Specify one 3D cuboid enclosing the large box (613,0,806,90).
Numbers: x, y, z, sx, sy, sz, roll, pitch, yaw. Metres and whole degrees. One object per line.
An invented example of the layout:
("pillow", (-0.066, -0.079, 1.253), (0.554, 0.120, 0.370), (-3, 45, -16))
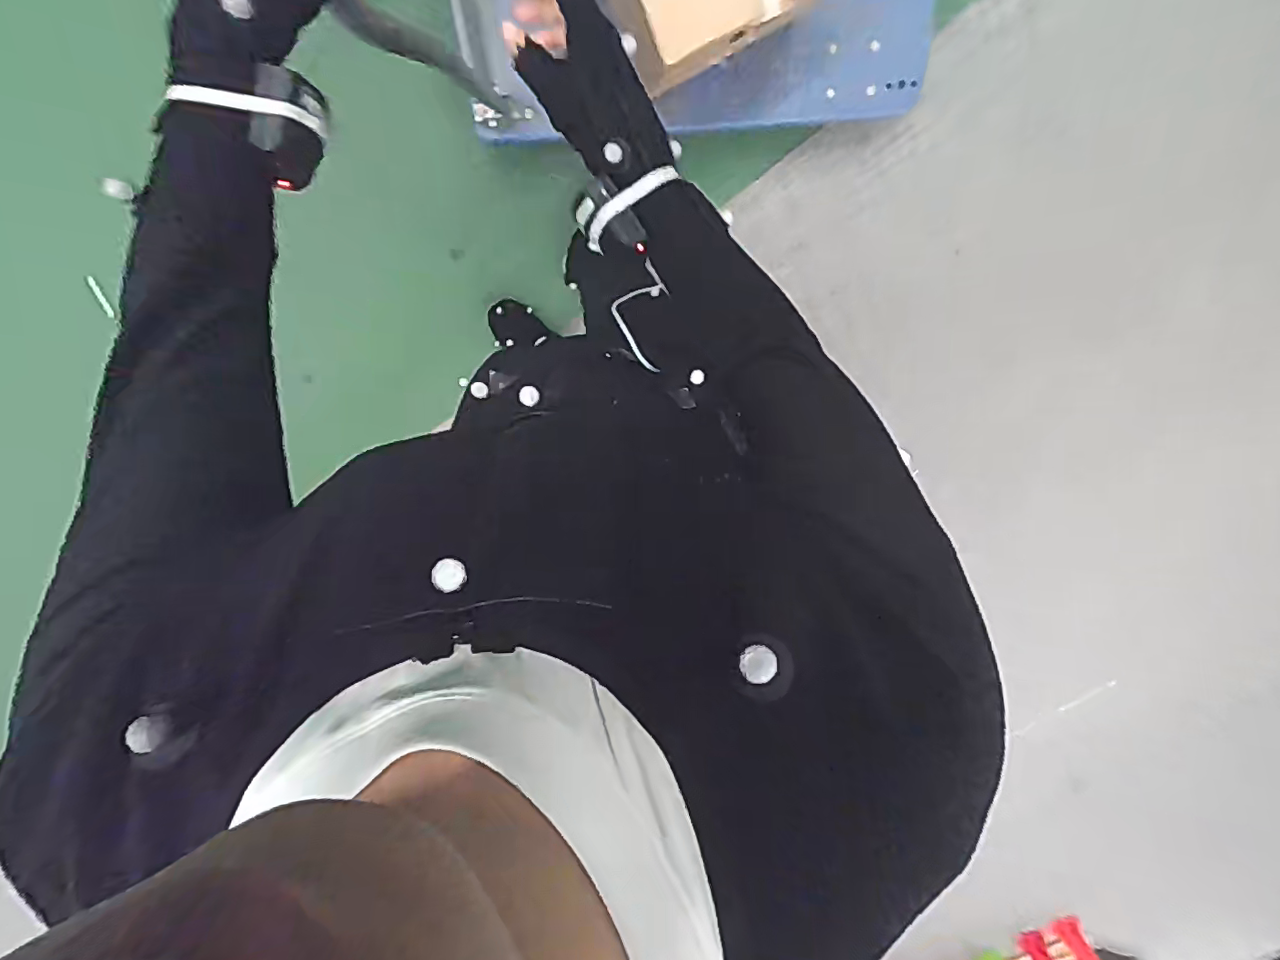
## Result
("large box", (0.076, -0.868, 0.766), (0.320, 0.320, 0.408), (-24, 117, 7))
